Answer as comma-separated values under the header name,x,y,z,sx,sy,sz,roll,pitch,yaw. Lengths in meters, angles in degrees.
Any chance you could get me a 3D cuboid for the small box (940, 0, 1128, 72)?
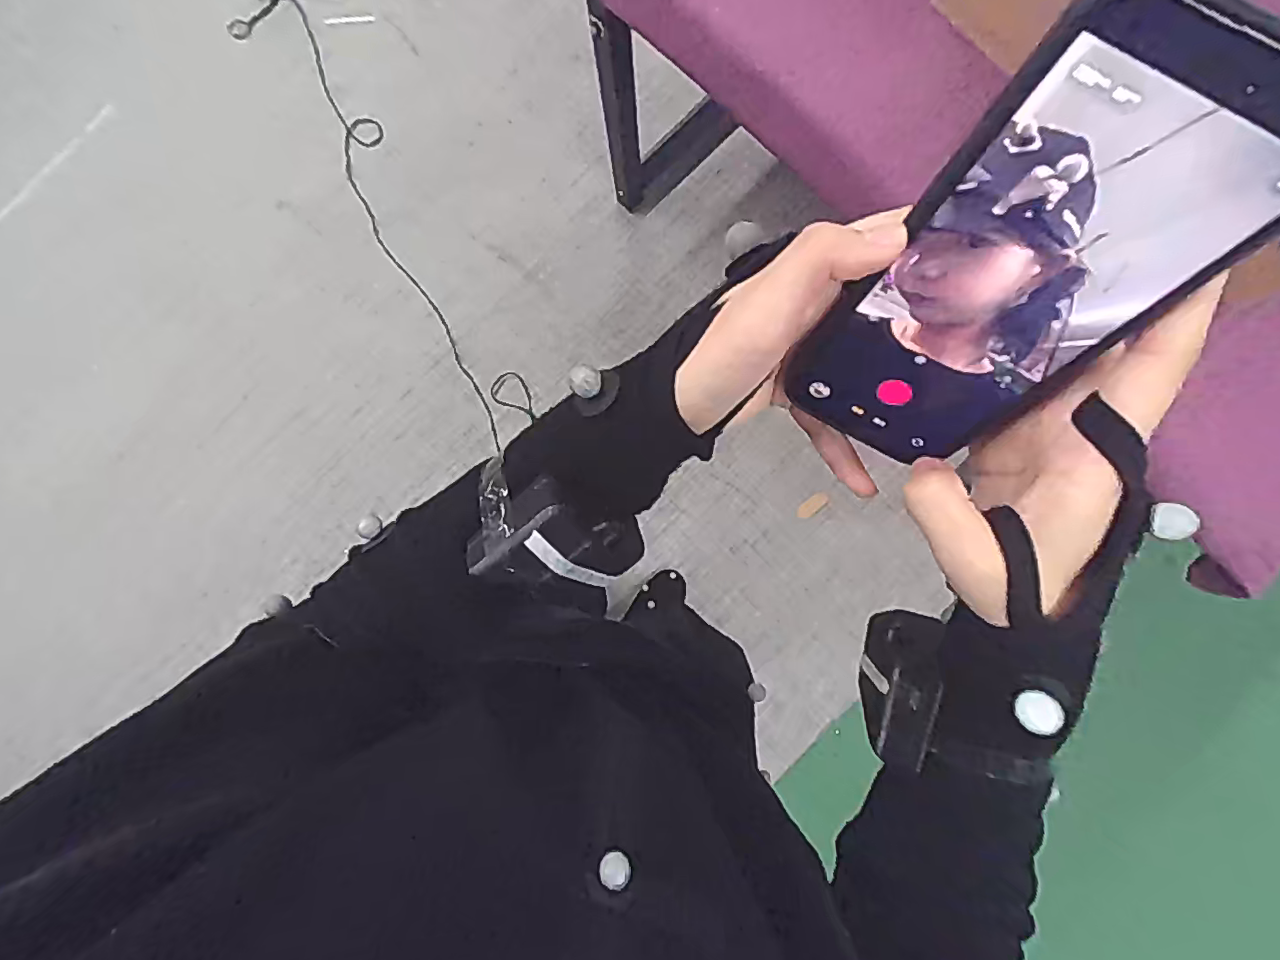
name,x,y,z,sx,sy,sz,roll,pitch,yaw
small box,0.460,-0.582,0.565,0.168,0.176,0.179,-42,85,-1
